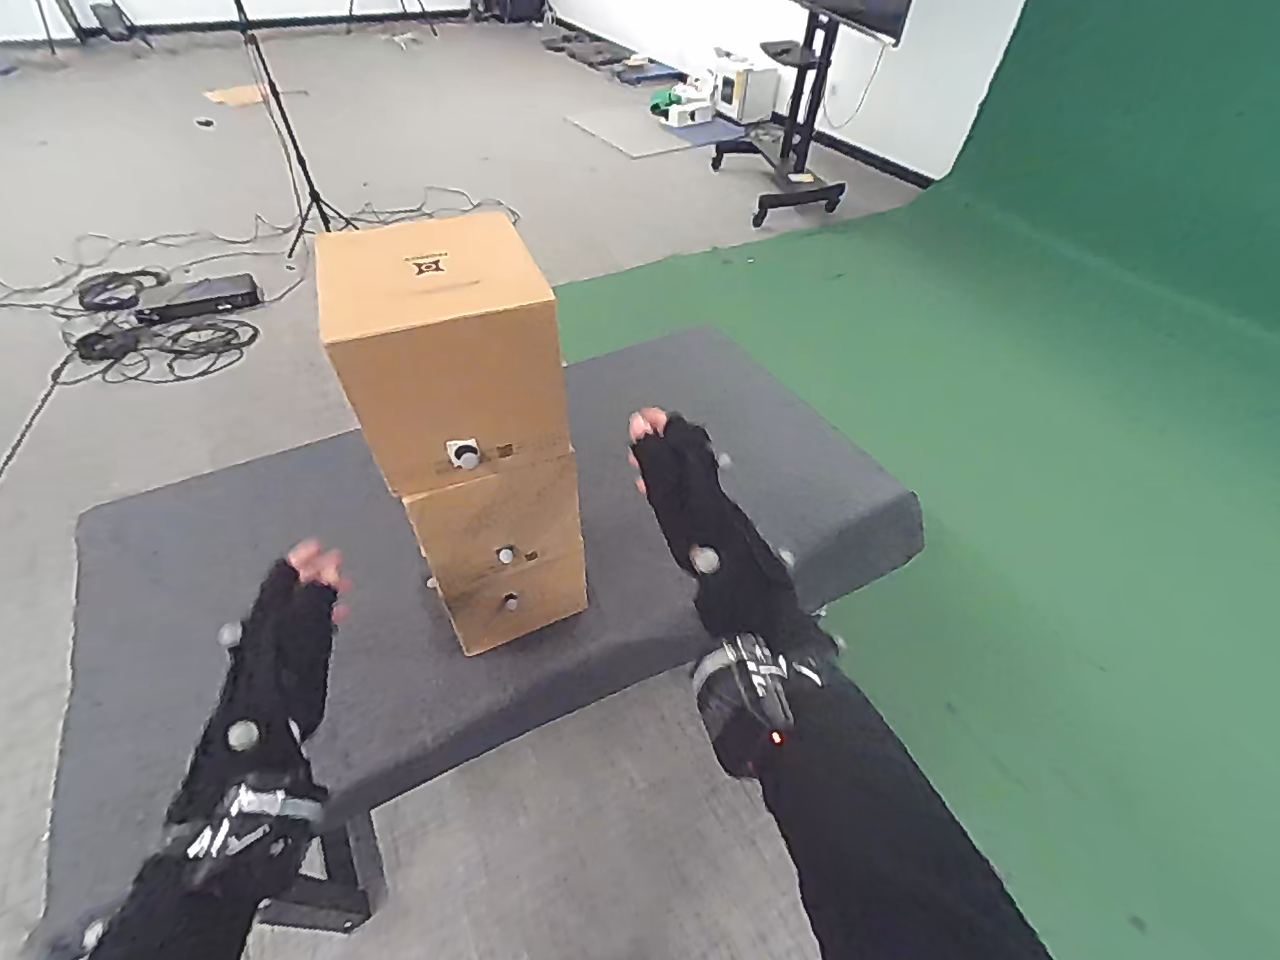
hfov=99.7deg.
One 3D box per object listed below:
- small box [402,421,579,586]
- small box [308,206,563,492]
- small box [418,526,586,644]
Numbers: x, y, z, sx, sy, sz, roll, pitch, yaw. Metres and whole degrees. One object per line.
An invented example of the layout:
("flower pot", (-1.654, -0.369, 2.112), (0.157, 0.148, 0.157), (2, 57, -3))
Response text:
("small box", (-0.179, -0.014, 0.613), (0.168, 0.176, 0.179), (-21, 51, -20))
("small box", (-0.177, -0.120, 0.490), (0.168, 0.176, 0.179), (-18, 52, -15))
("small box", (-0.185, 0.094, 0.737), (0.179, 0.176, 0.168), (-20, 52, -18))
